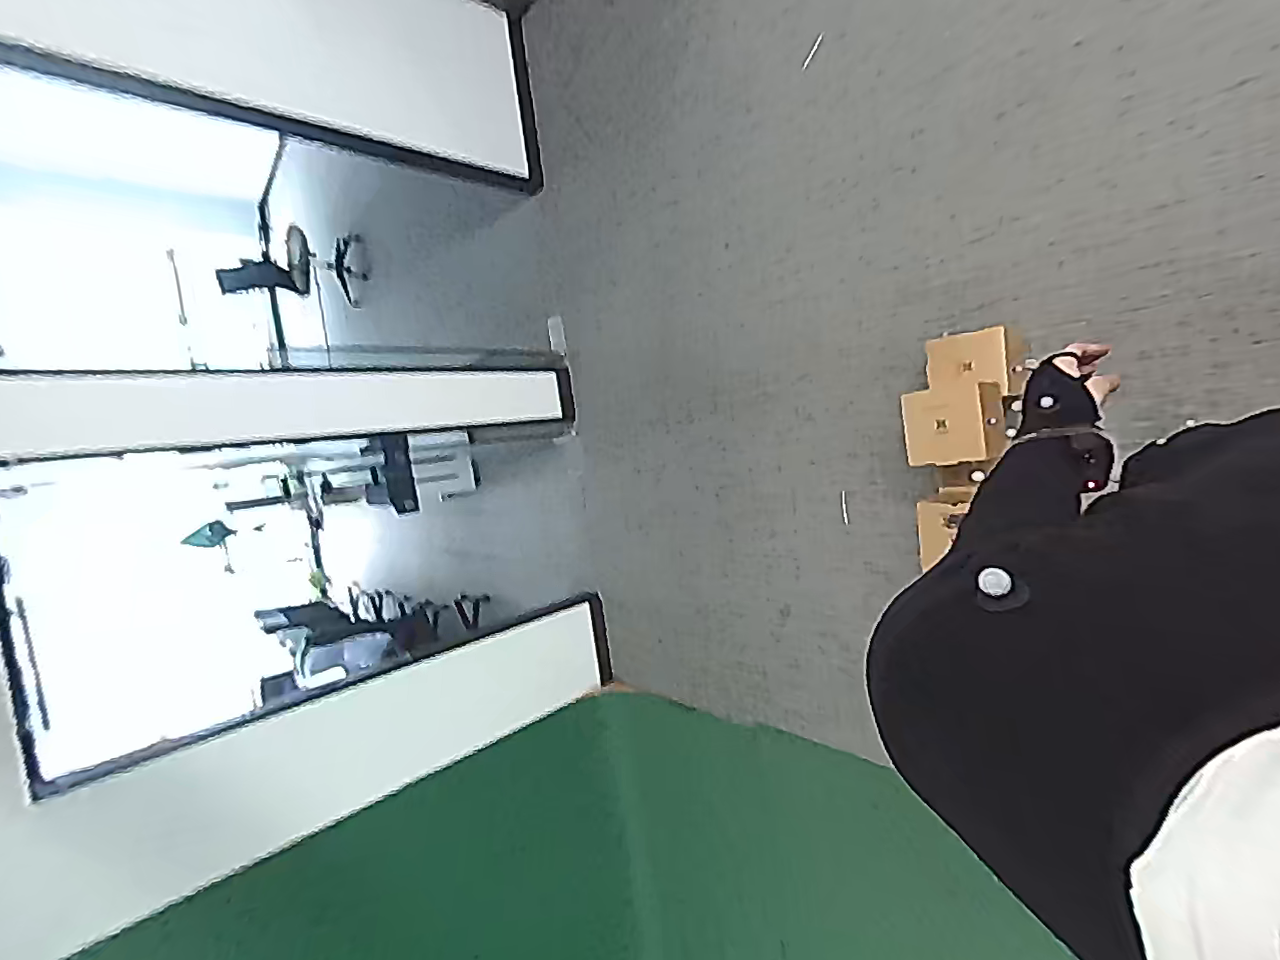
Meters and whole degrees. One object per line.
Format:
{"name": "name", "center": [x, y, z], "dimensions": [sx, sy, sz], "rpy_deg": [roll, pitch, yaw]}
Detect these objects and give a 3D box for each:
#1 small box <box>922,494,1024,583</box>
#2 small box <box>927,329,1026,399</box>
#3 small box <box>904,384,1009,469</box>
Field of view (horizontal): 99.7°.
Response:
{"name": "small box", "center": [0.790, 0.130, 1.281], "dimensions": [0.168, 0.176, 0.179], "rpy_deg": [-1, 97, 49]}
{"name": "small box", "center": [0.859, -0.282, 1.374], "dimensions": [0.179, 0.176, 0.168], "rpy_deg": [-4, 95, 49]}
{"name": "small box", "center": [0.751, -0.126, 1.277], "dimensions": [0.168, 0.176, 0.179], "rpy_deg": [-7, 90, 48]}
